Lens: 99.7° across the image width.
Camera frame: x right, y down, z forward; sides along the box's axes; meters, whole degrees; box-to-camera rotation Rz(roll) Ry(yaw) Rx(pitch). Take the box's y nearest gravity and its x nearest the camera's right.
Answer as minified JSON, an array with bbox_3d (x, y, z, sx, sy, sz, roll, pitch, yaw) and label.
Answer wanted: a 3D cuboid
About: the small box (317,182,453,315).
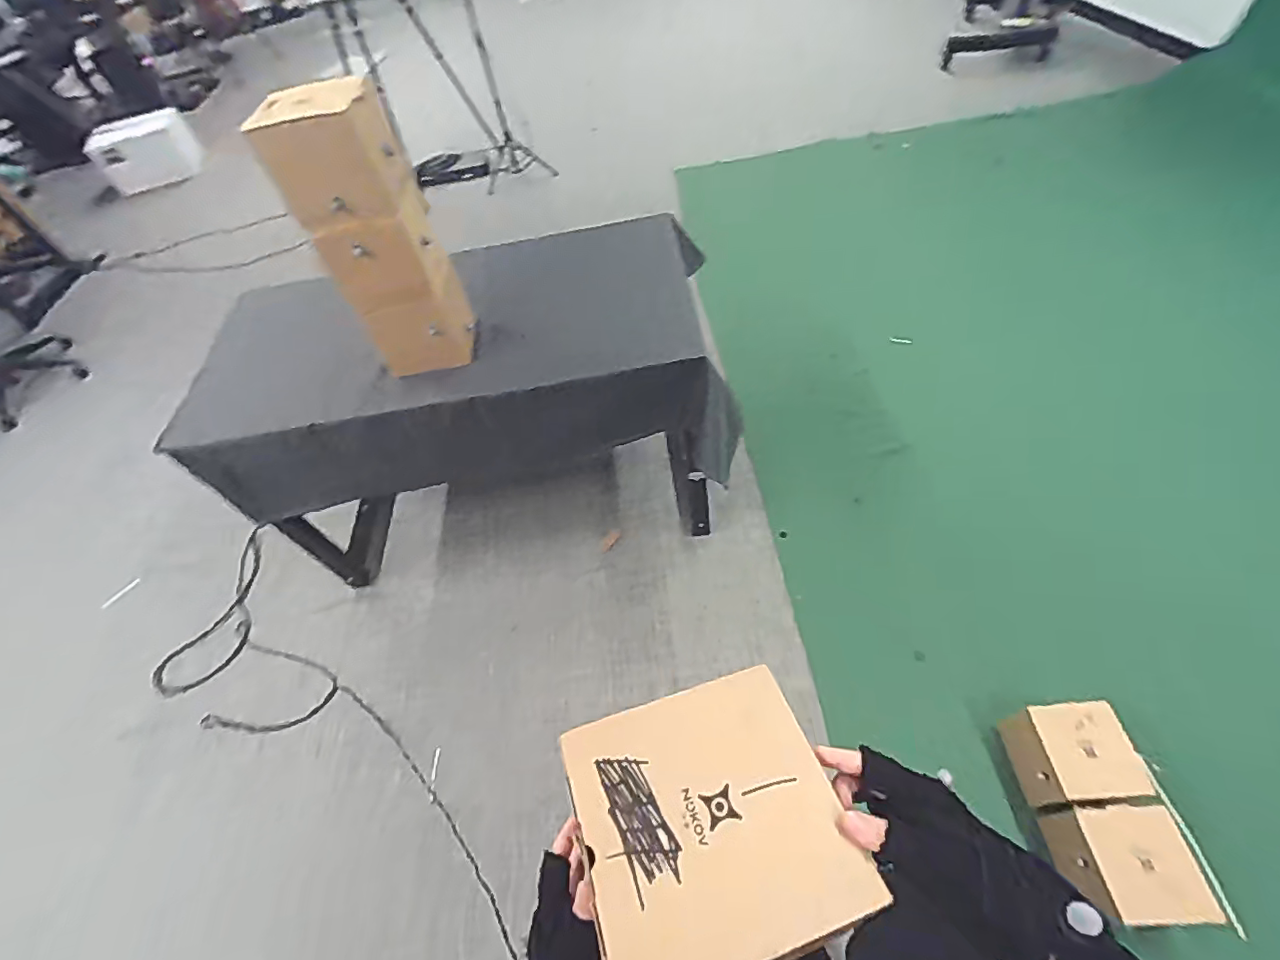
[{"bbox_3d":[-0.489,-0.454,1.070,0.179,0.176,0.168,-10,52,2],"label":"small box"}]

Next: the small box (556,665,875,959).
[{"bbox_3d":[0.046,0.282,0.426,0.179,0.176,0.168,-14,45,-11],"label":"small box"}]

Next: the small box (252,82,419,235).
[{"bbox_3d":[-0.513,-0.557,0.945,0.179,0.176,0.168,-8,52,3],"label":"small box"}]
